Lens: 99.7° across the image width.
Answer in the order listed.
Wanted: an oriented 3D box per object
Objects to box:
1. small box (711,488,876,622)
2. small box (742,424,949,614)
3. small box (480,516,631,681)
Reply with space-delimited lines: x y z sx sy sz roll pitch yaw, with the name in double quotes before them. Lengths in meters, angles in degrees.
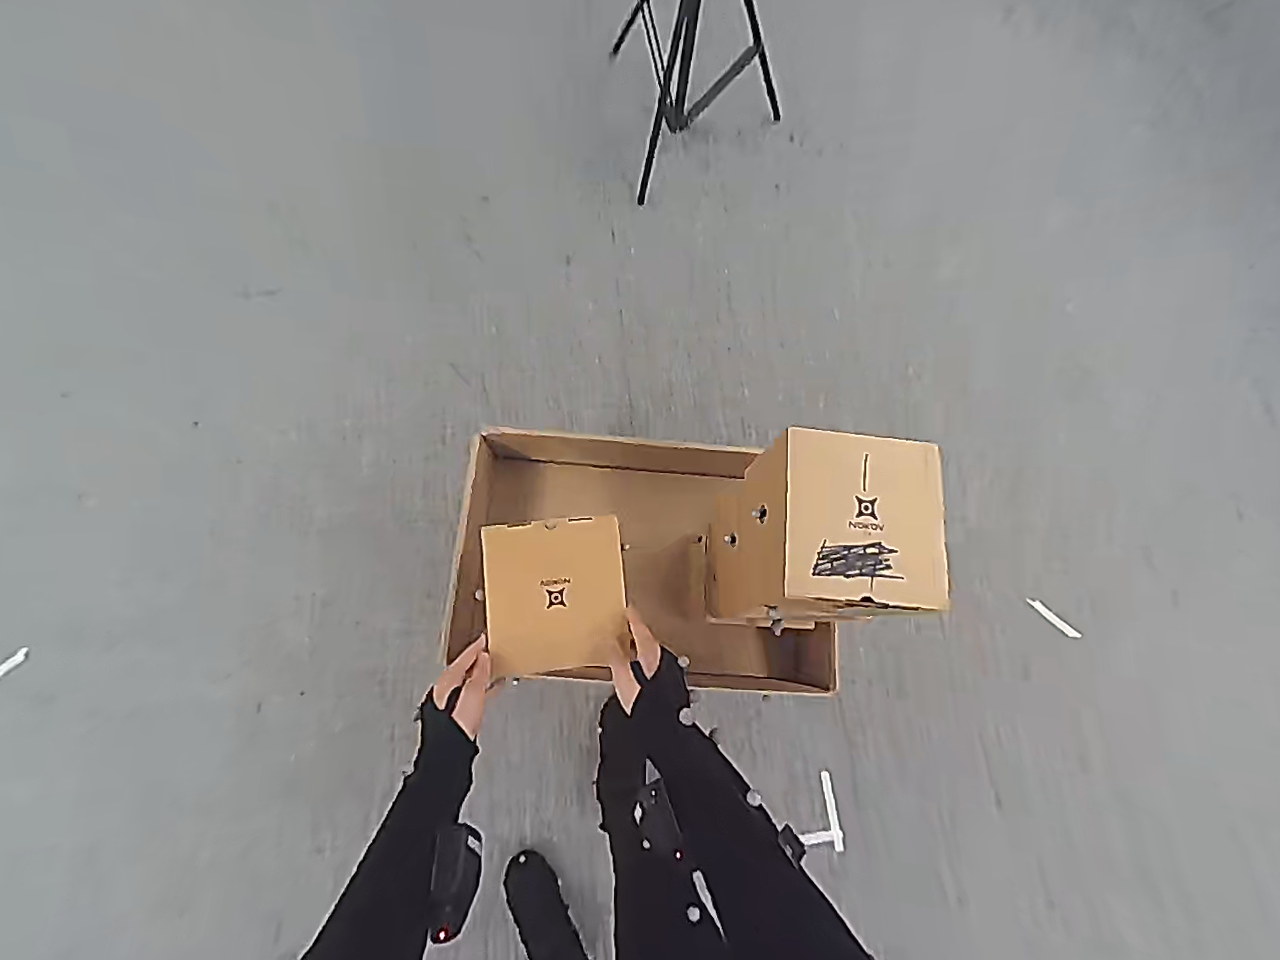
"small box" 0.205 0.113 0.766 0.179 0.176 0.168 3 75 -5
"small box" 0.218 0.055 0.611 0.168 0.176 0.179 6 74 -3
"small box" -0.105 0.147 0.706 0.168 0.176 0.179 -6 80 -7
